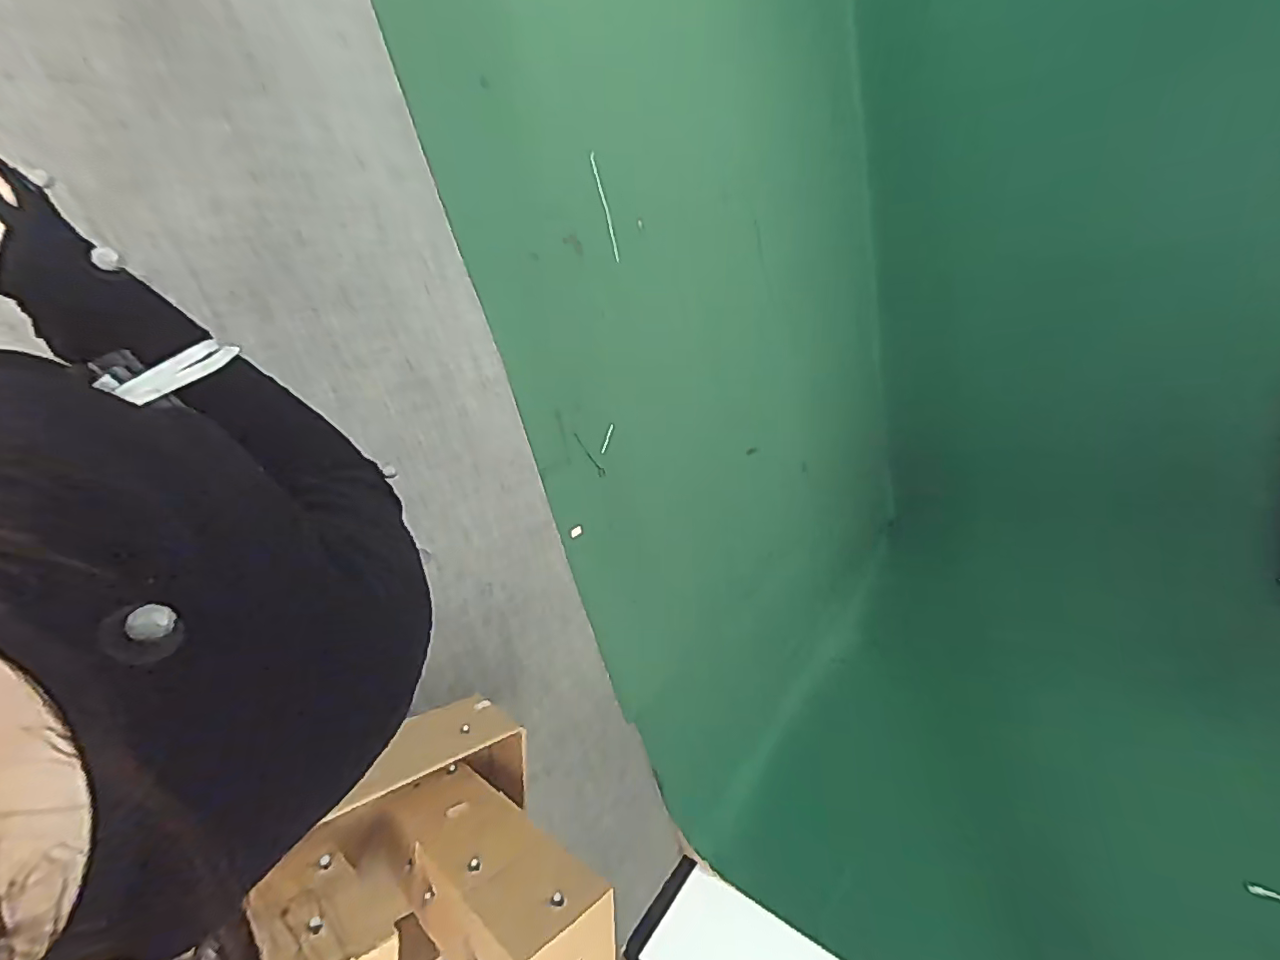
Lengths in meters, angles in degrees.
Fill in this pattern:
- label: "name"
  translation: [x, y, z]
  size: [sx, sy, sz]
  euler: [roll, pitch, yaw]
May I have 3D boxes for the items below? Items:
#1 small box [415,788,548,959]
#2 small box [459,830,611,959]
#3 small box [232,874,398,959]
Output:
- label: "small box"
  translation: [-0.283, 0.702, 0.977]
  size: [0.179, 0.176, 0.168]
  euler: [-7, 99, -45]
- label: "small box"
  translation: [-0.165, 0.710, 0.862]
  size: [0.179, 0.176, 0.168]
  euler: [-8, 99, -45]
- label: "small box"
  translation: [-0.468, 0.712, 0.771]
  size: [0.168, 0.176, 0.179]
  euler: [4, 91, -48]
